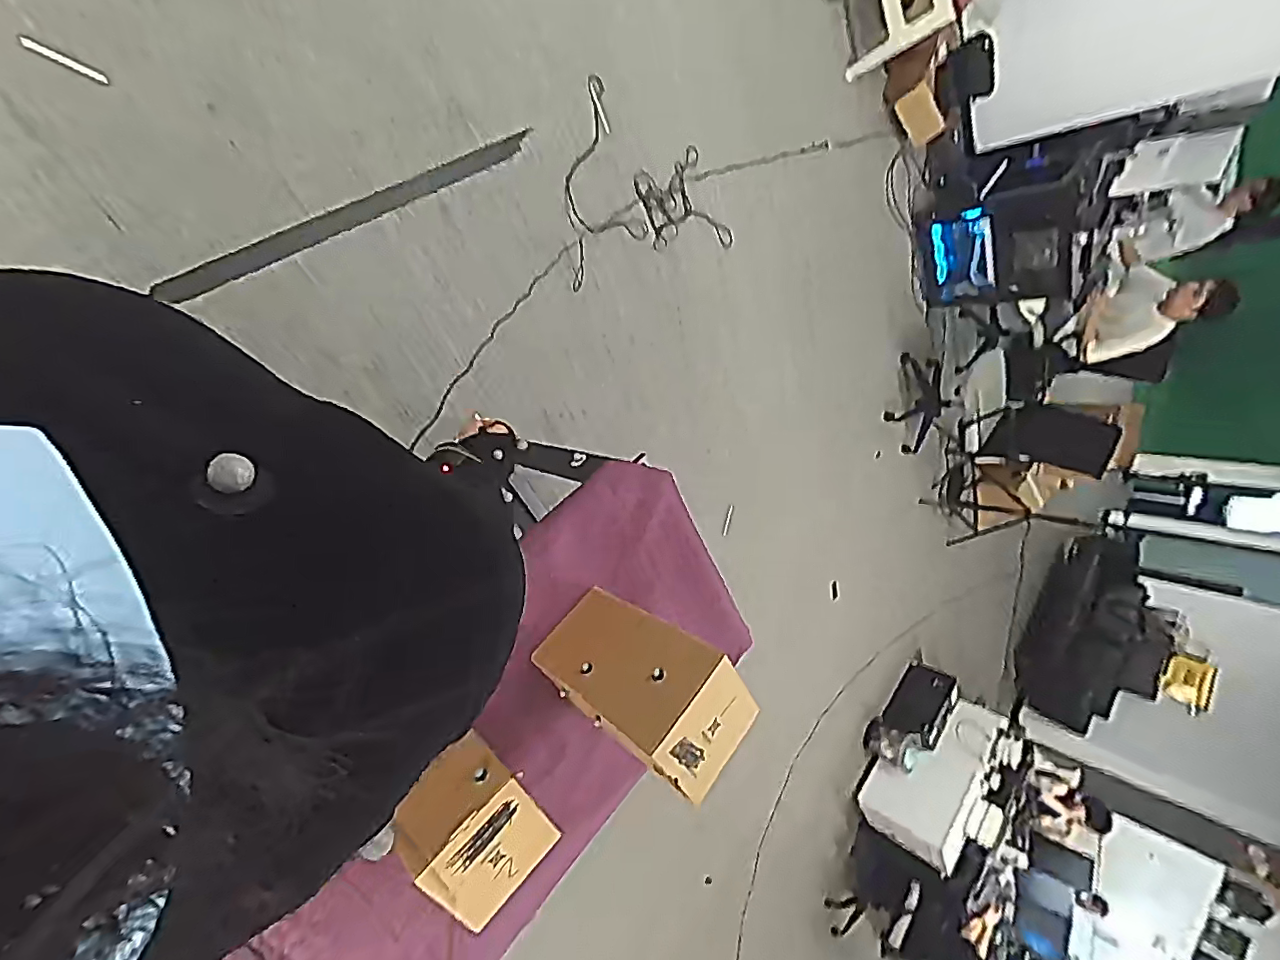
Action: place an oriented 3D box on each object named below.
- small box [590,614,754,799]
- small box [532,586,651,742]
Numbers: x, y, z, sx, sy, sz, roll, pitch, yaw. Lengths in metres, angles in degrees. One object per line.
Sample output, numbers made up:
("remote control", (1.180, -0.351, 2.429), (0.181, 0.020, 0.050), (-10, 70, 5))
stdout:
("small box", (0.044, 0.347, 0.854), (0.179, 0.176, 0.168), (-47, 126, -24))
("small box", (-0.060, 0.322, 0.979), (0.179, 0.176, 0.168), (-46, 126, -23))
